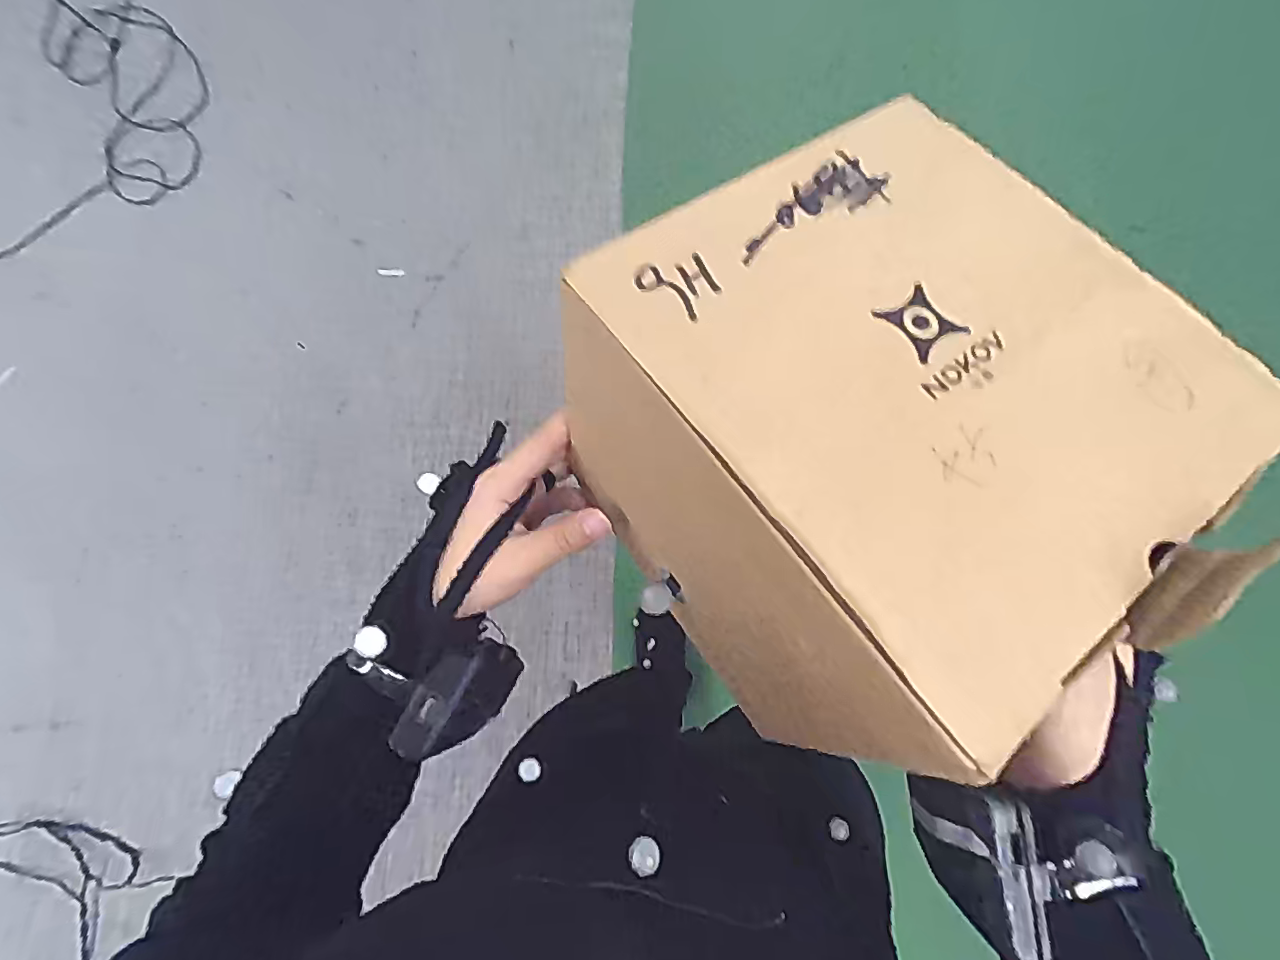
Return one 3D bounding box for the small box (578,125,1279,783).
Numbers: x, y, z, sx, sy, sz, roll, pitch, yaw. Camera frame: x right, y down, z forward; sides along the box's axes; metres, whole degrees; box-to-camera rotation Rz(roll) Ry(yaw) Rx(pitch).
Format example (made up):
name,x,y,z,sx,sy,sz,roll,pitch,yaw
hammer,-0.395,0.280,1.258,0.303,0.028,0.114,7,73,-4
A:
name,x,y,z,sx,sy,sz,roll,pitch,yaw
small box,0.088,-0.005,0.245,0.168,0.176,0.179,-31,73,-16
